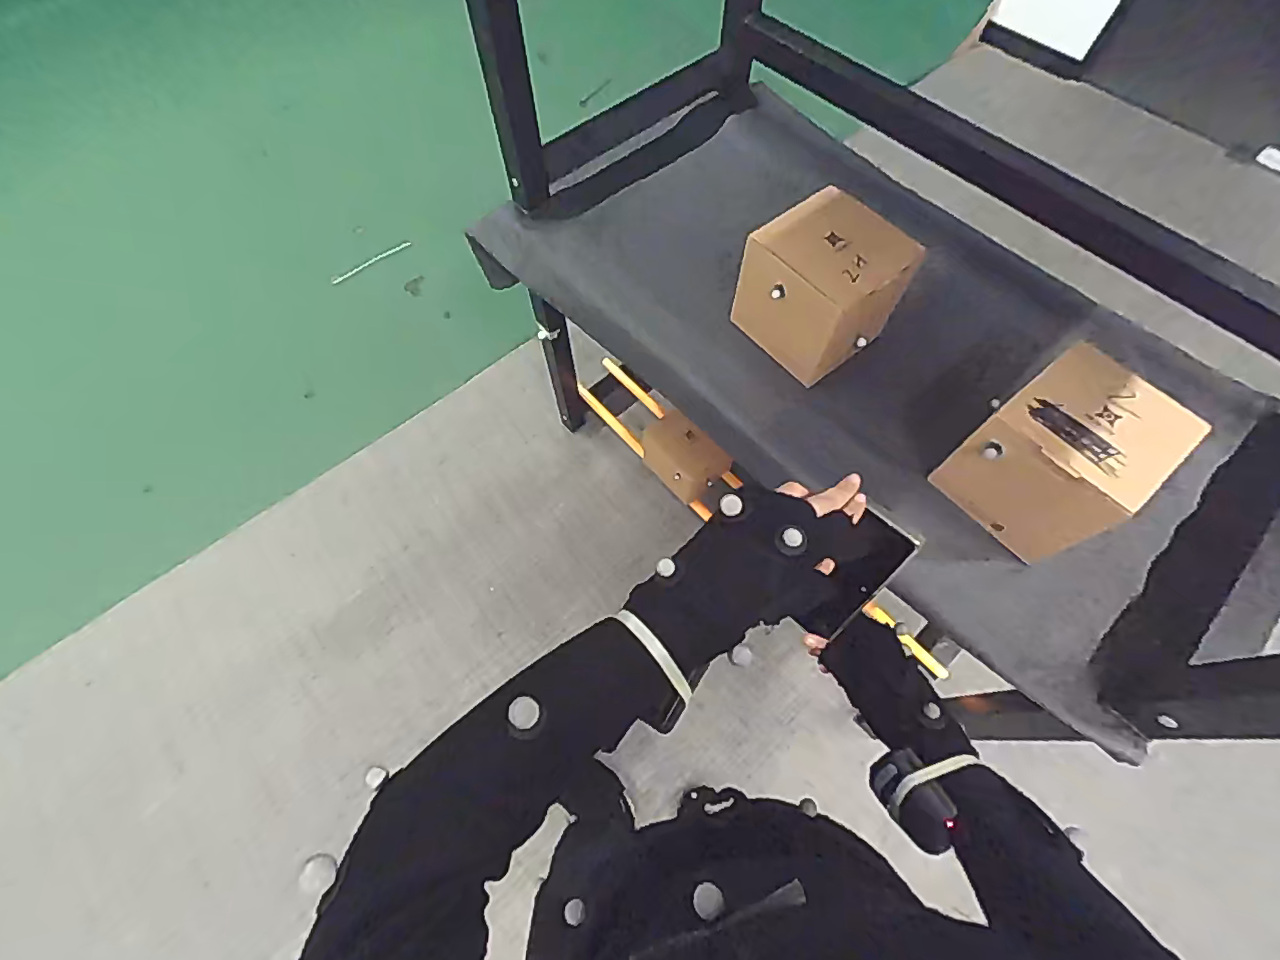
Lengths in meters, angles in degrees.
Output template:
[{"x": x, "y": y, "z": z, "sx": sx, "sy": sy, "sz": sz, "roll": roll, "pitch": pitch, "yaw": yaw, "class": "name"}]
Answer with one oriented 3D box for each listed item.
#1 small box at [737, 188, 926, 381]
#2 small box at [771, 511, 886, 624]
[{"x": 0.265, "y": -0.281, "z": 0.797, "sx": 0.168, "sy": 0.176, "sz": 0.179, "roll": -36, "pitch": 70, "yaw": -15, "class": "small box"}, {"x": 0.423, "y": 0.210, "z": 1.252, "sx": 0.179, "sy": 0.176, "sz": 0.168, "roll": -36, "pitch": 70, "yaw": -15, "class": "small box"}]
